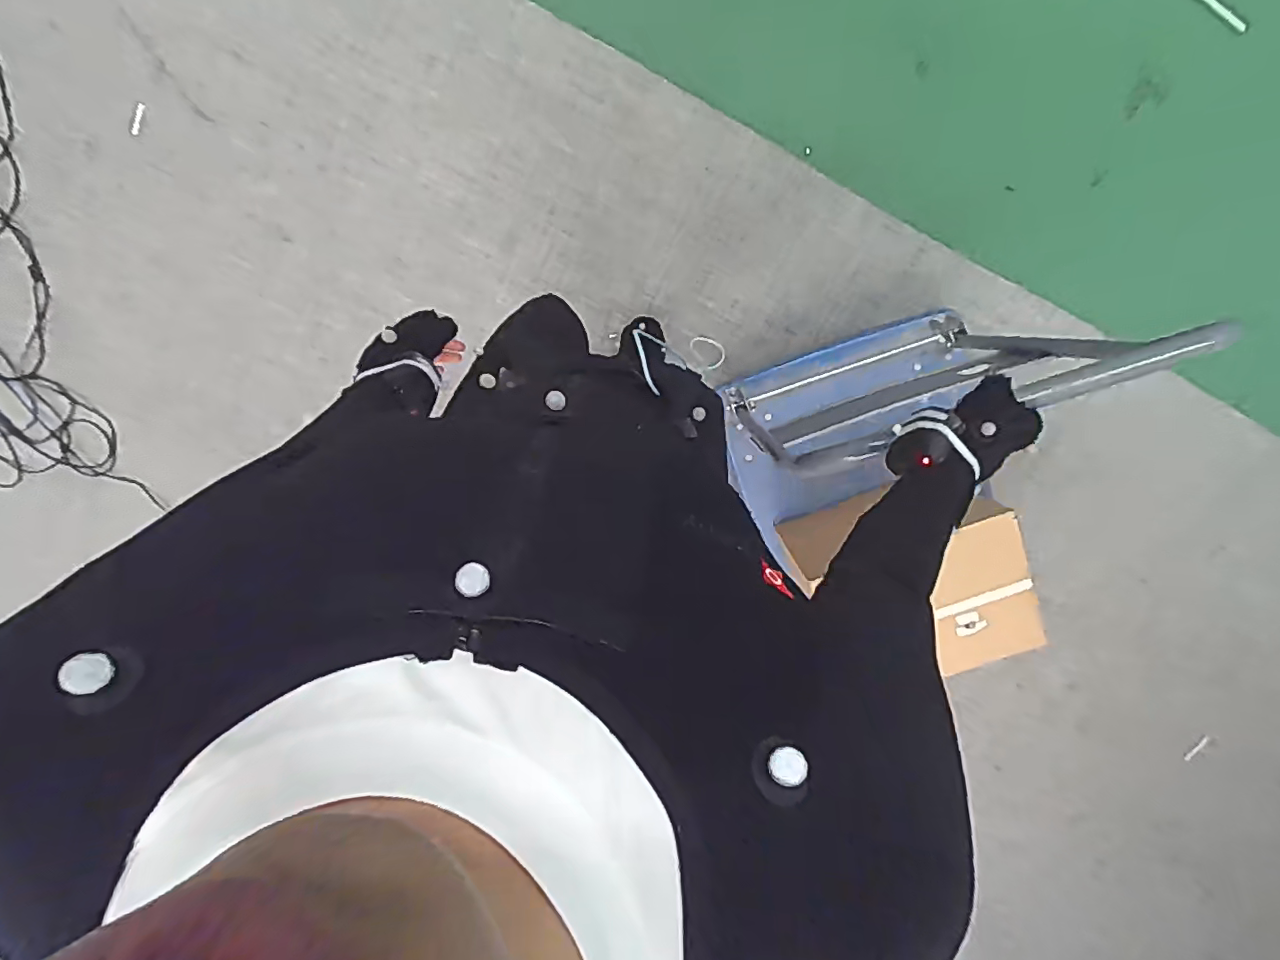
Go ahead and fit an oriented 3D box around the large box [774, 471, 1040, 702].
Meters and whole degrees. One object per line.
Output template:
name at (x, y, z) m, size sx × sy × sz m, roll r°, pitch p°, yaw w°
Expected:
large box at (0.569, 0.219, 1.219) m, size 0.408 × 0.320 × 0.320 m, roll -22°, pitch 106°, yaw 6°
